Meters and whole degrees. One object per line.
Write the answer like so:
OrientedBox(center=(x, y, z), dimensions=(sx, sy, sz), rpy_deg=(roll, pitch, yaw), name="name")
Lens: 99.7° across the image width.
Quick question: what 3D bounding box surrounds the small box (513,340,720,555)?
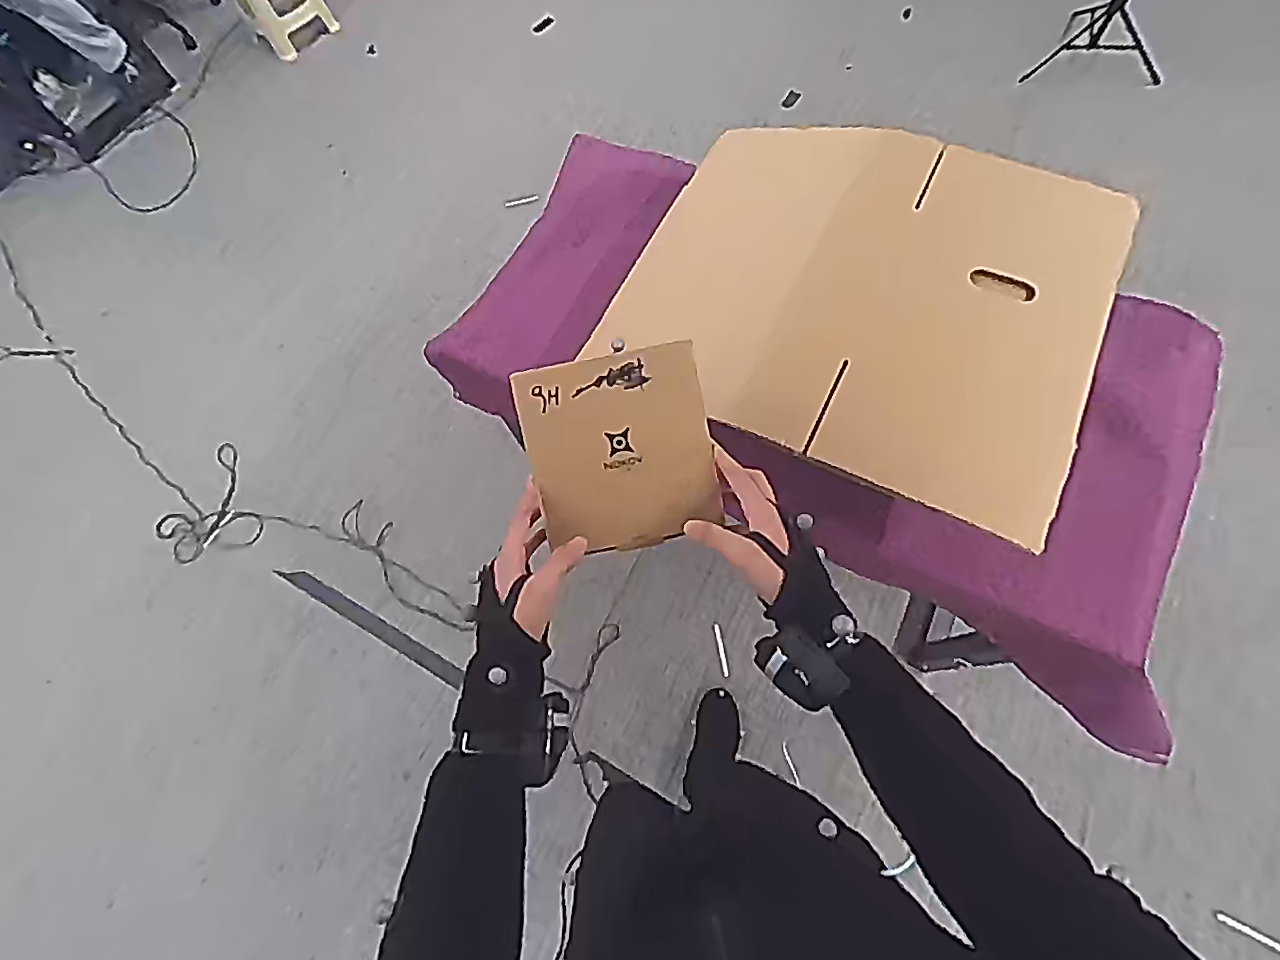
OrientedBox(center=(-0.019, -0.039, 0.572), dimensions=(0.168, 0.176, 0.179), rpy_deg=(-11, 98, 0), name="small box")
